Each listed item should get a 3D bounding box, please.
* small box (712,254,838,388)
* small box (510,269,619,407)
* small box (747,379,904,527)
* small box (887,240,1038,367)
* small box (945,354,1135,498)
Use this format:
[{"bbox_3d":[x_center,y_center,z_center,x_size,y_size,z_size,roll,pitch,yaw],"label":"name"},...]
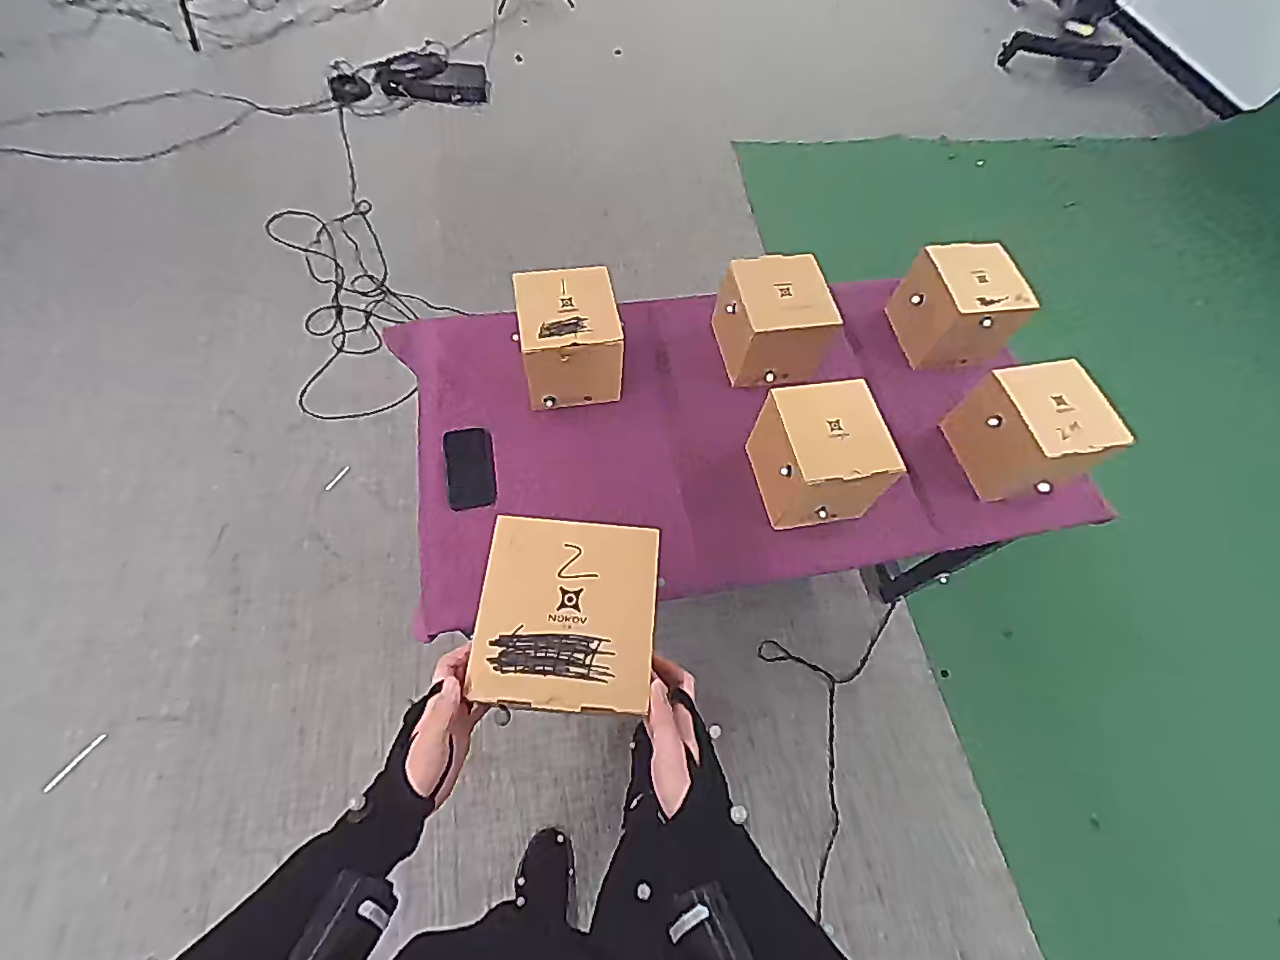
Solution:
[{"bbox_3d":[0.244,-0.299,1.029,0.168,0.176,0.179,-8,64,-7],"label":"small box"},{"bbox_3d":[-0.132,-0.246,0.971,0.168,0.176,0.179,-9,63,-8],"label":"small box"},{"bbox_3d":[0.292,-0.042,0.898,0.168,0.176,0.179,-8,63,-9],"label":"small box"},{"bbox_3d":[0.628,-0.350,1.082,0.168,0.176,0.179,-7,63,-7],"label":"small box"},{"bbox_3d":[0.679,-0.091,0.946,0.168,0.176,0.179,-10,64,-7],"label":"small box"}]
